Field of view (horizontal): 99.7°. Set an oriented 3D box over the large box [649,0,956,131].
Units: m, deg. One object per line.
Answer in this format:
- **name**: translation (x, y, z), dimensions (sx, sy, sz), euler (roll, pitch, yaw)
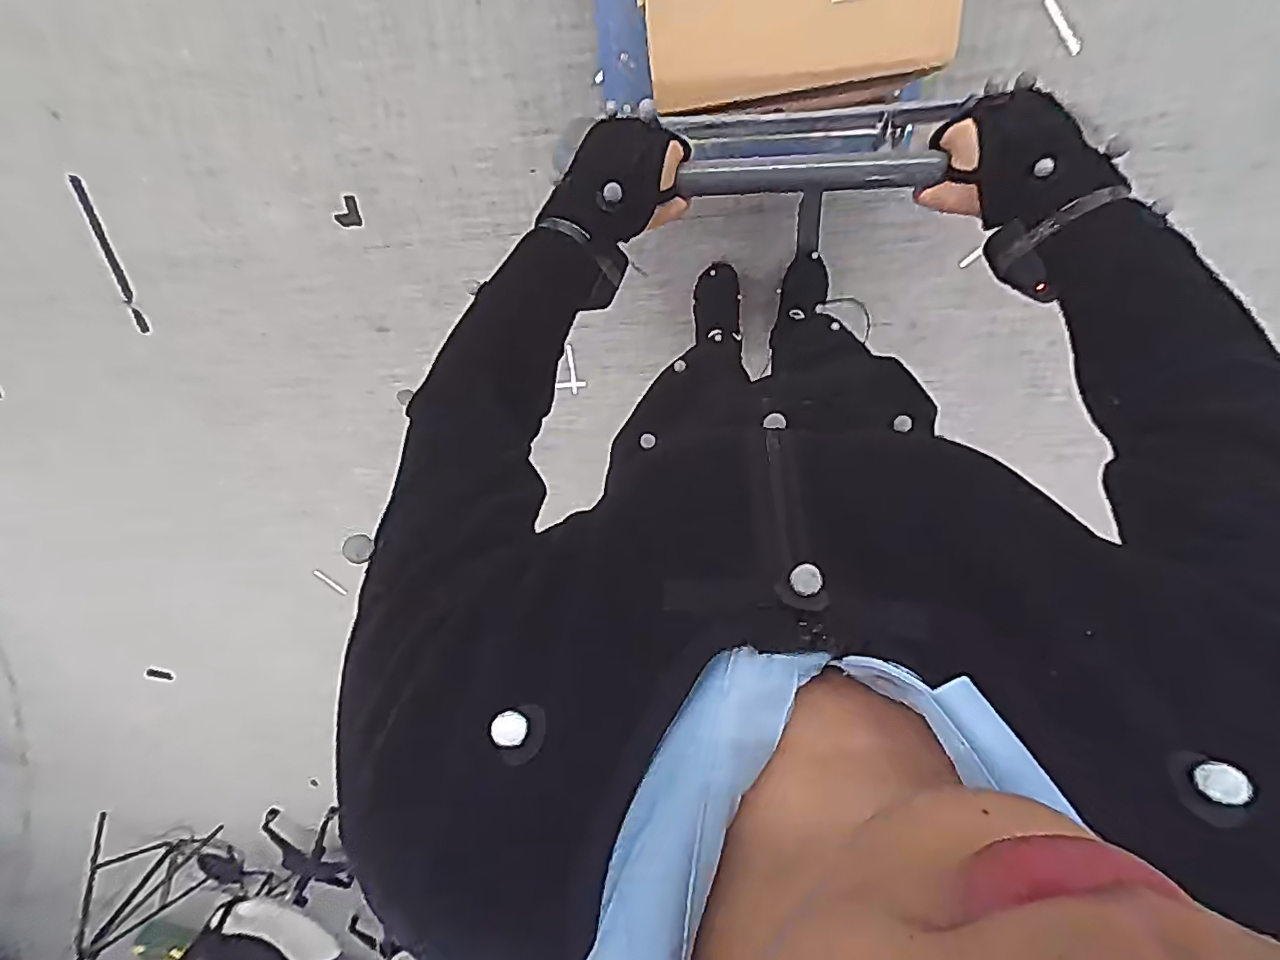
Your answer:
- **large box**: translation (0.216, -0.757, 0.822), dimensions (0.408, 0.320, 0.320), euler (-5, 119, 8)
